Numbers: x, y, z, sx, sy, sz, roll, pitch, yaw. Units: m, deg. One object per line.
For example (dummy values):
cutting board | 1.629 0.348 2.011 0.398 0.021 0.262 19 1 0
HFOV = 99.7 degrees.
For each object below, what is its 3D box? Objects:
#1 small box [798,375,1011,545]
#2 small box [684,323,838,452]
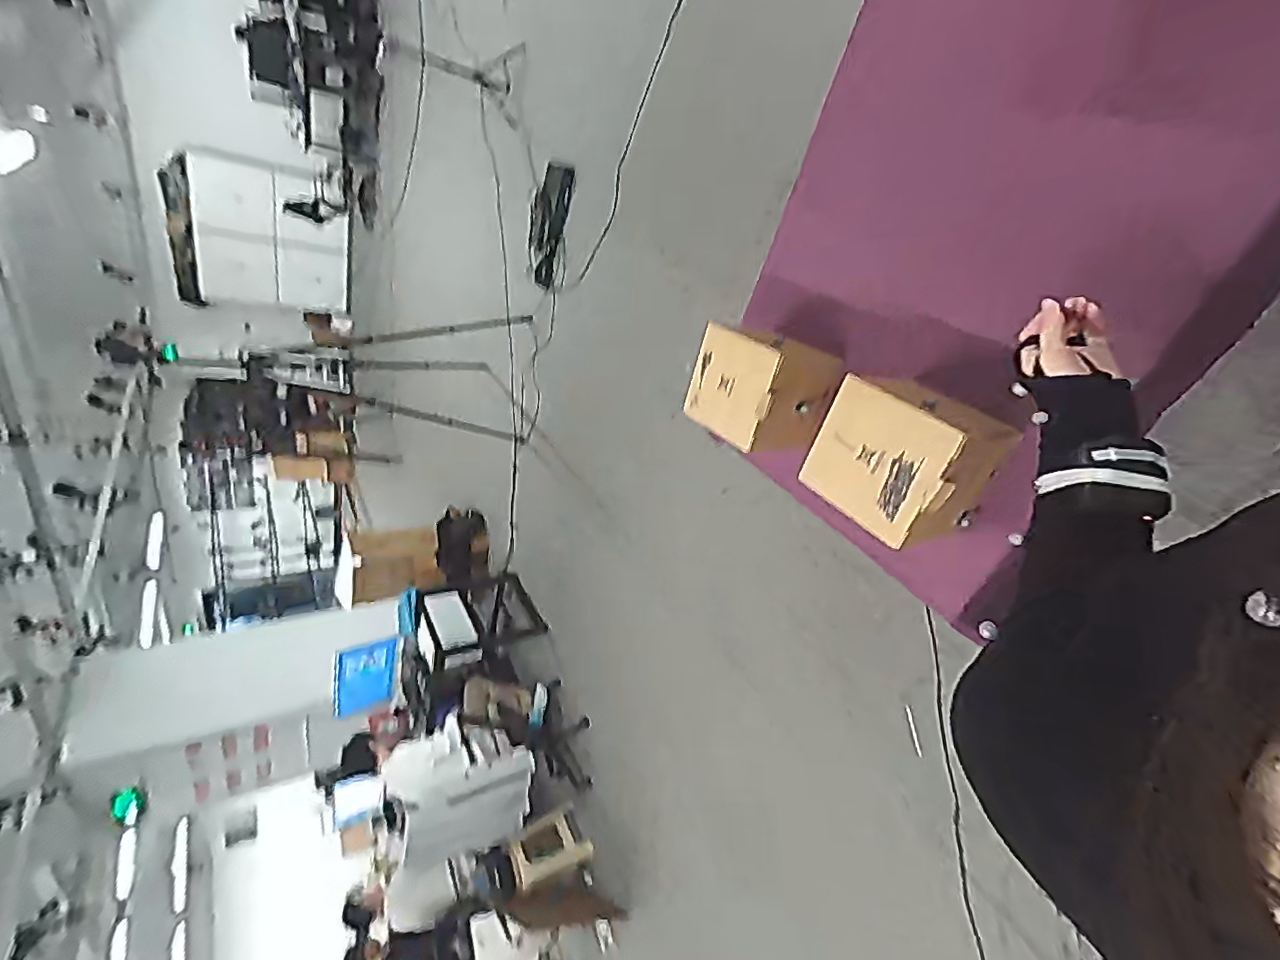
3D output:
small box | 0.364 -0.035 0.752 0.179 0.176 0.168 46 128 43
small box | 0.211 -0.164 0.947 0.179 0.176 0.168 41 125 43
